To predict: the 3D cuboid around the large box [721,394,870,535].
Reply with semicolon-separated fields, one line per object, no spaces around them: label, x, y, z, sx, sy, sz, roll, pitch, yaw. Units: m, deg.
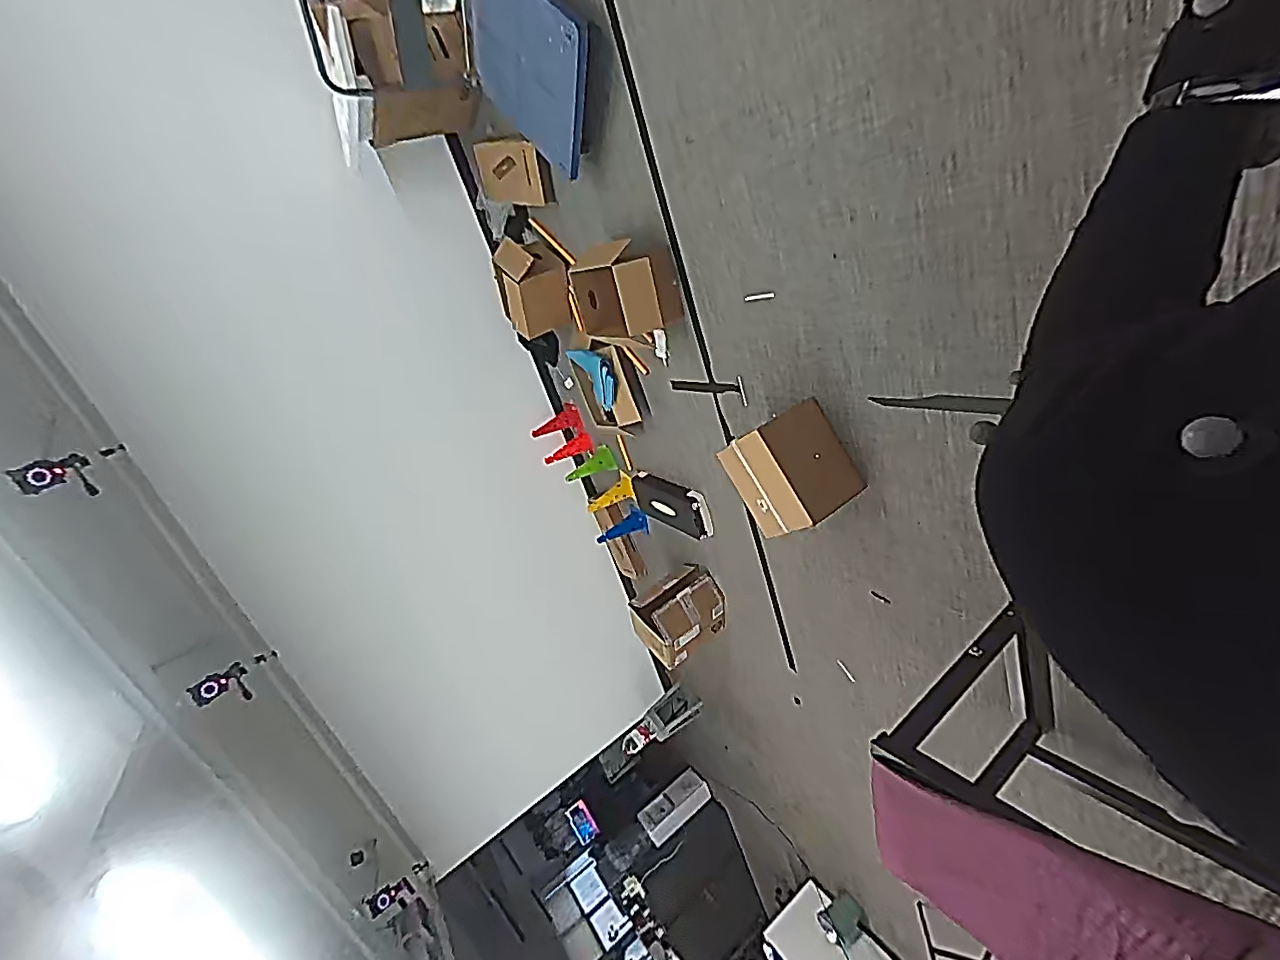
large box;0.595;-0.056;2.095;0.408;0.320;0.320;58;157;2
